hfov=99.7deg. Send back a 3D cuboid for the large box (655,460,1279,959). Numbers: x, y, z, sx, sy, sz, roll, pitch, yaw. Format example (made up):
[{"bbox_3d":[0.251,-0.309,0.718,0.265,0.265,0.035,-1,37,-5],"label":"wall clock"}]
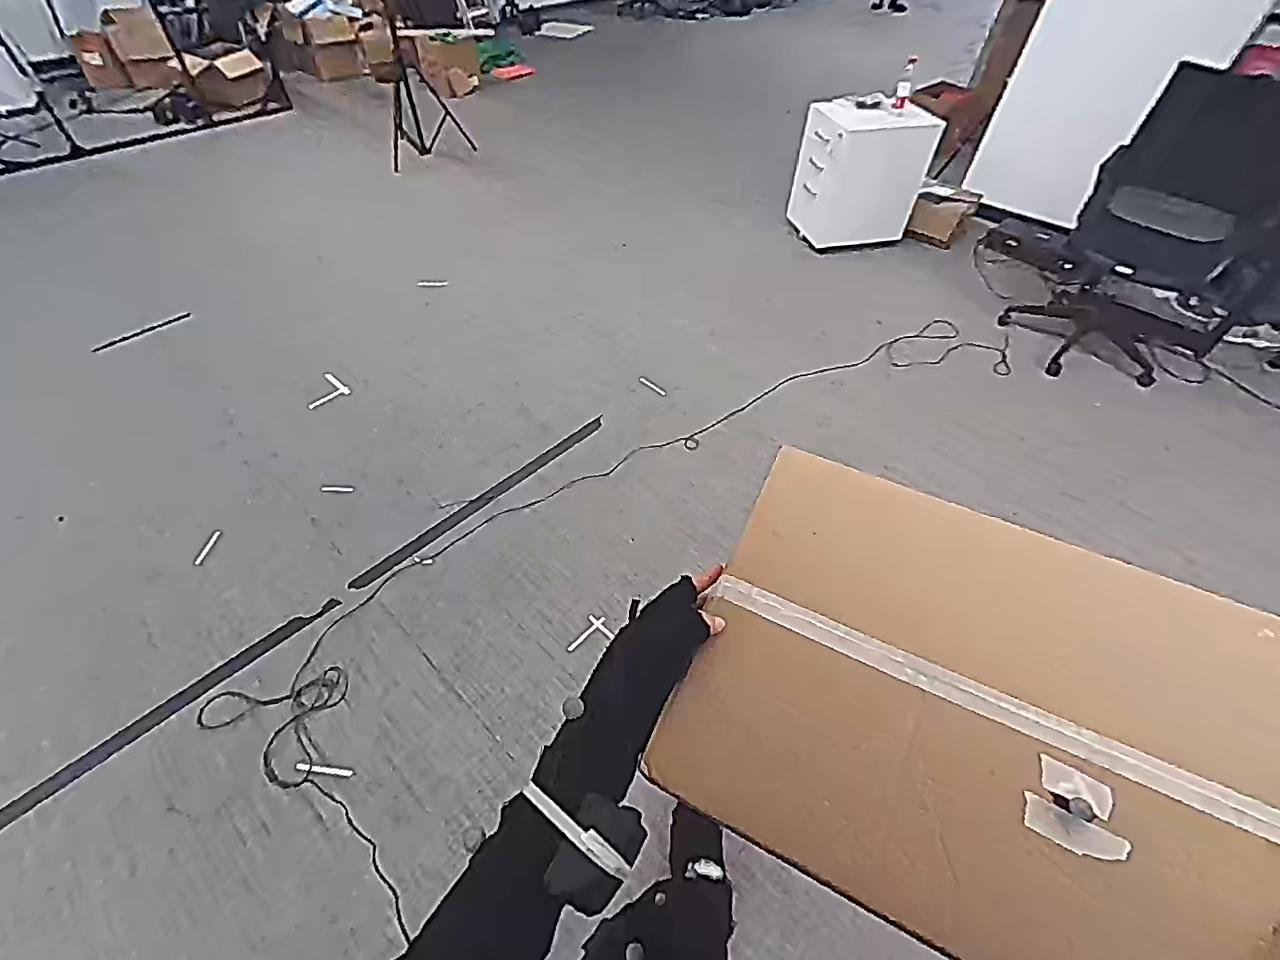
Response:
[{"bbox_3d":[0.262,0.240,0.542,0.408,0.320,0.320,22,65,17],"label":"large box"}]
